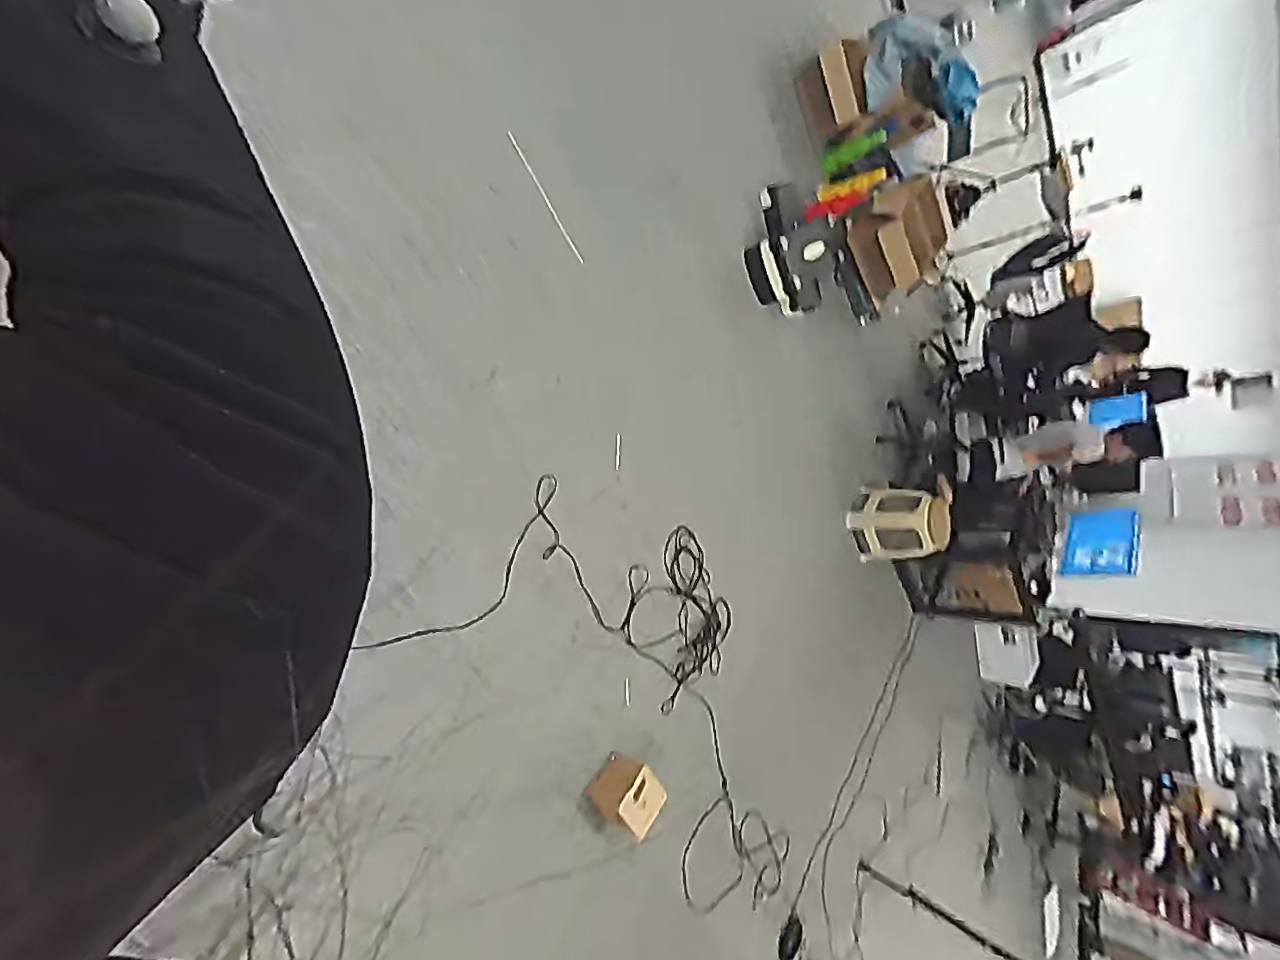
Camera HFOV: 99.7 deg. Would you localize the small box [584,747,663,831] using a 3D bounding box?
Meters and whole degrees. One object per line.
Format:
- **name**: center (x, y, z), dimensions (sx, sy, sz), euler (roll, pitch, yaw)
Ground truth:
- **small box**: center (-0.059, 1.047, 1.850), dimensions (0.168, 0.176, 0.179), euler (-45, 117, -36)
